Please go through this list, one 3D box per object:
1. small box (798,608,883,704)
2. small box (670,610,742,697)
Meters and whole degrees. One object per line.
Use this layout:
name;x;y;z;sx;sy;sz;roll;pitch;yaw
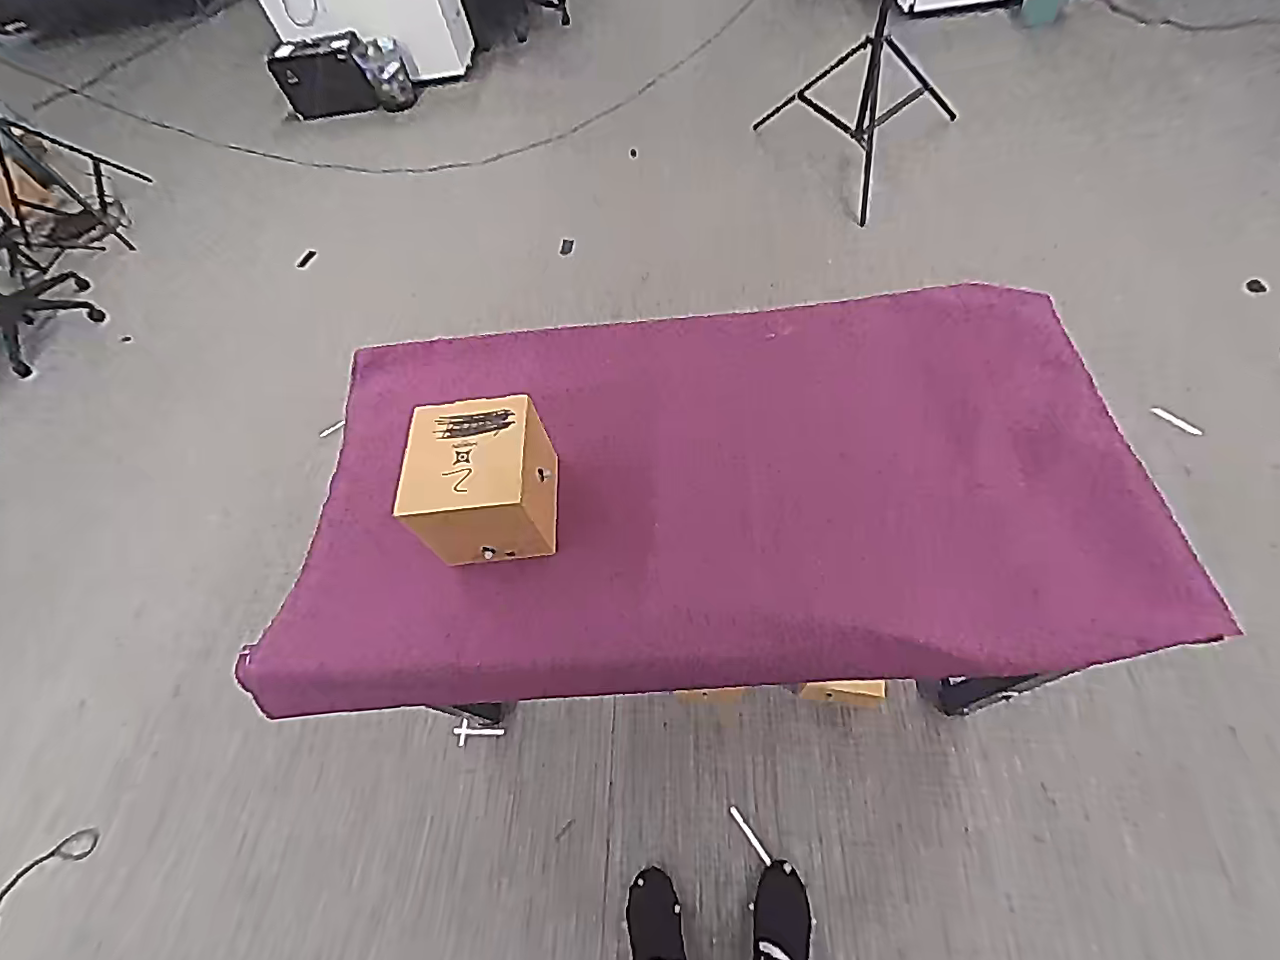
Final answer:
small box;0.471;0.423;1.286;0.168;0.176;0.179;4;59;12
small box;0.165;0.429;1.326;0.168;0.176;0.179;-1;58;7
